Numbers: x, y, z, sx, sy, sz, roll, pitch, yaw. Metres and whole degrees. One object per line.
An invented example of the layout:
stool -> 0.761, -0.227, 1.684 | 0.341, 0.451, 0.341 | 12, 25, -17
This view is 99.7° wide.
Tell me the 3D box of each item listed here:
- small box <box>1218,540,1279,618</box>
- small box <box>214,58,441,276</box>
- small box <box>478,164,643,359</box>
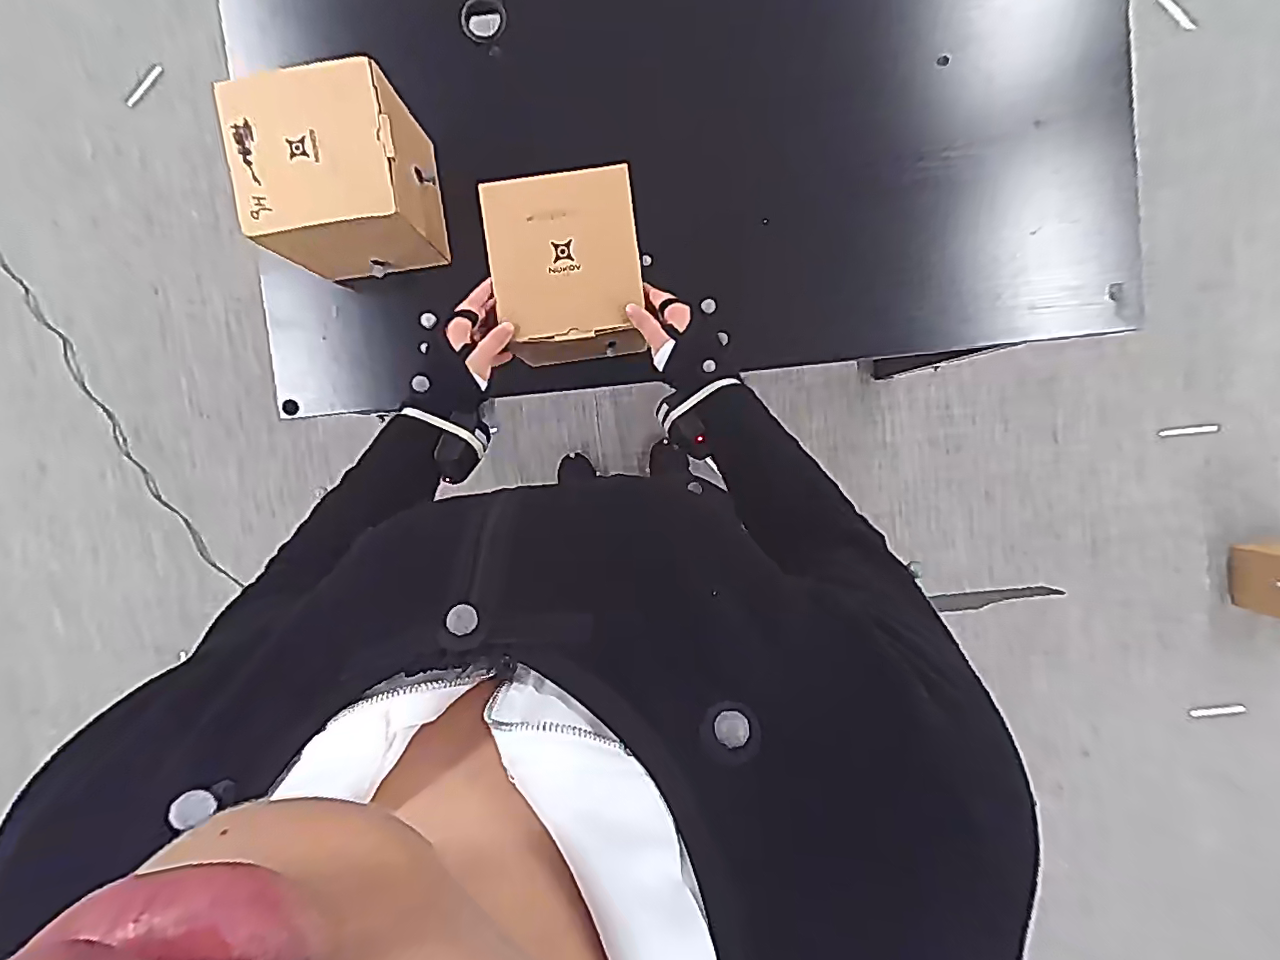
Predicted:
small box -> 1.703, 0.261, 1.437 | 0.168, 0.176, 0.179 | -6, 94, 1
small box -> -0.358, -0.365, 0.661 | 0.179, 0.176, 0.168 | -8, 94, -1
small box -> -0.085, -0.252, 0.671 | 0.168, 0.176, 0.179 | -8, 93, -1
